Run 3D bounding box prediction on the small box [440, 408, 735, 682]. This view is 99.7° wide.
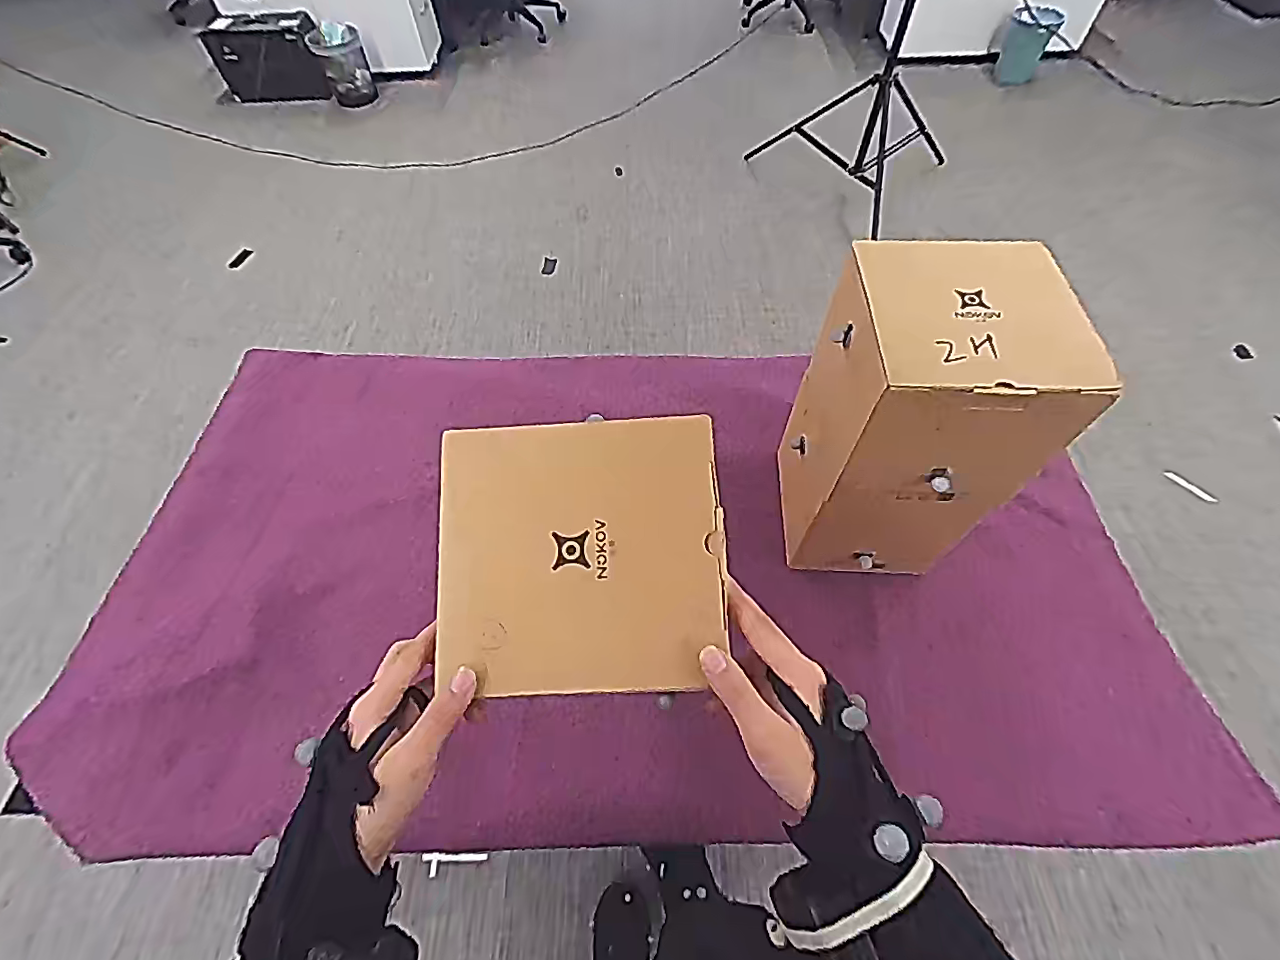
[{"bbox_3d":[-0.030,0.056,0.409,0.179,0.176,0.168,-3,76,1],"label":"small box"}]

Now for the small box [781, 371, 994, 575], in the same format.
[{"bbox_3d":[0.267,-0.005,0.635,0.168,0.176,0.179,2,58,3],"label":"small box"}]

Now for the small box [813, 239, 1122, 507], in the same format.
[{"bbox_3d":[0.266,-0.094,0.496,0.168,0.176,0.179,2,58,4],"label":"small box"}]
